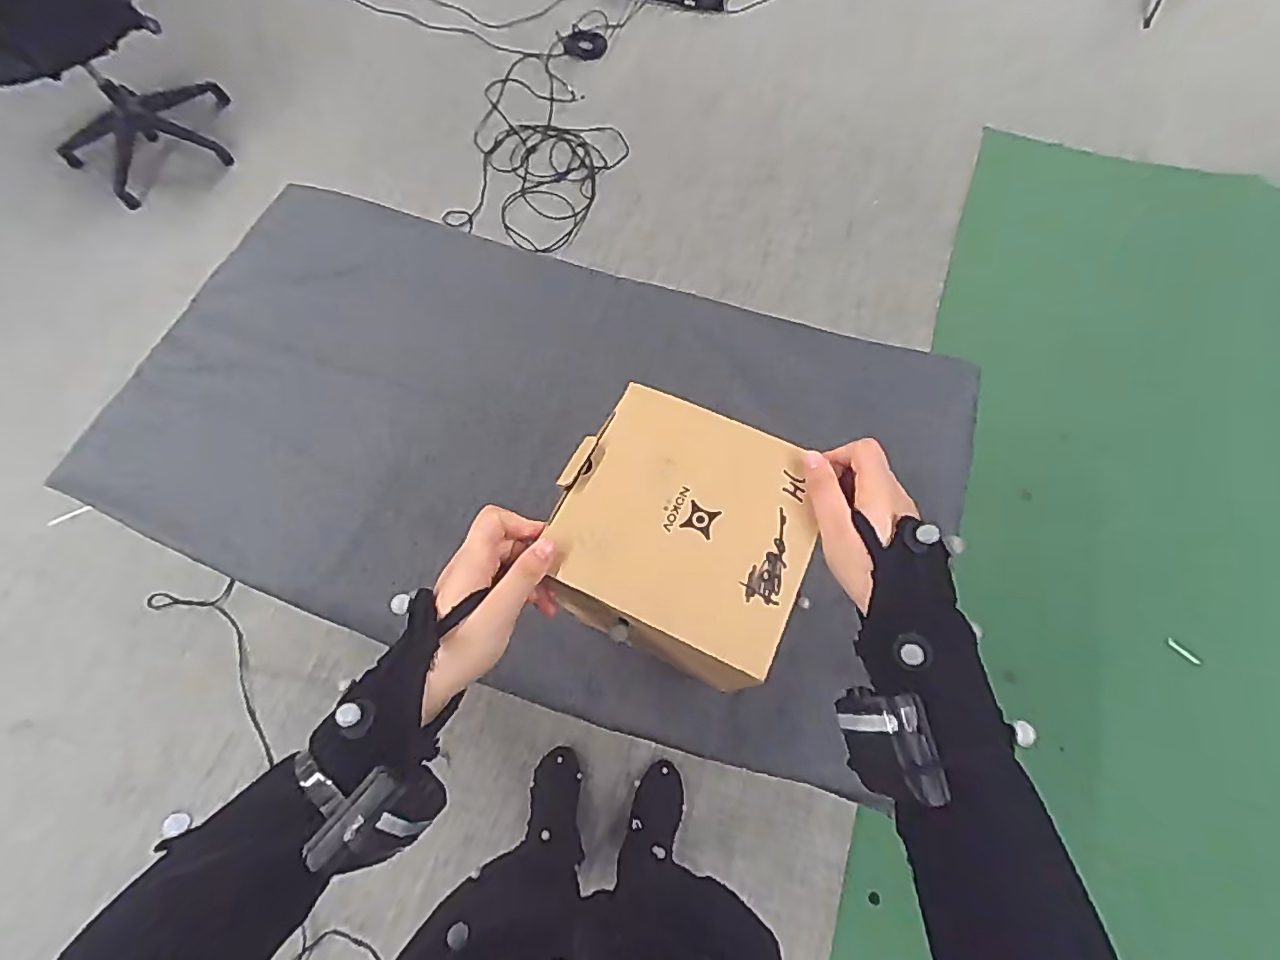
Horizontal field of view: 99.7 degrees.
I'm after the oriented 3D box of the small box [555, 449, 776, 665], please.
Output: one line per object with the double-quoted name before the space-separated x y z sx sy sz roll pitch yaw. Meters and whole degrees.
"small box" 0.028 0.096 0.607 0.179 0.176 0.168 22 69 9
